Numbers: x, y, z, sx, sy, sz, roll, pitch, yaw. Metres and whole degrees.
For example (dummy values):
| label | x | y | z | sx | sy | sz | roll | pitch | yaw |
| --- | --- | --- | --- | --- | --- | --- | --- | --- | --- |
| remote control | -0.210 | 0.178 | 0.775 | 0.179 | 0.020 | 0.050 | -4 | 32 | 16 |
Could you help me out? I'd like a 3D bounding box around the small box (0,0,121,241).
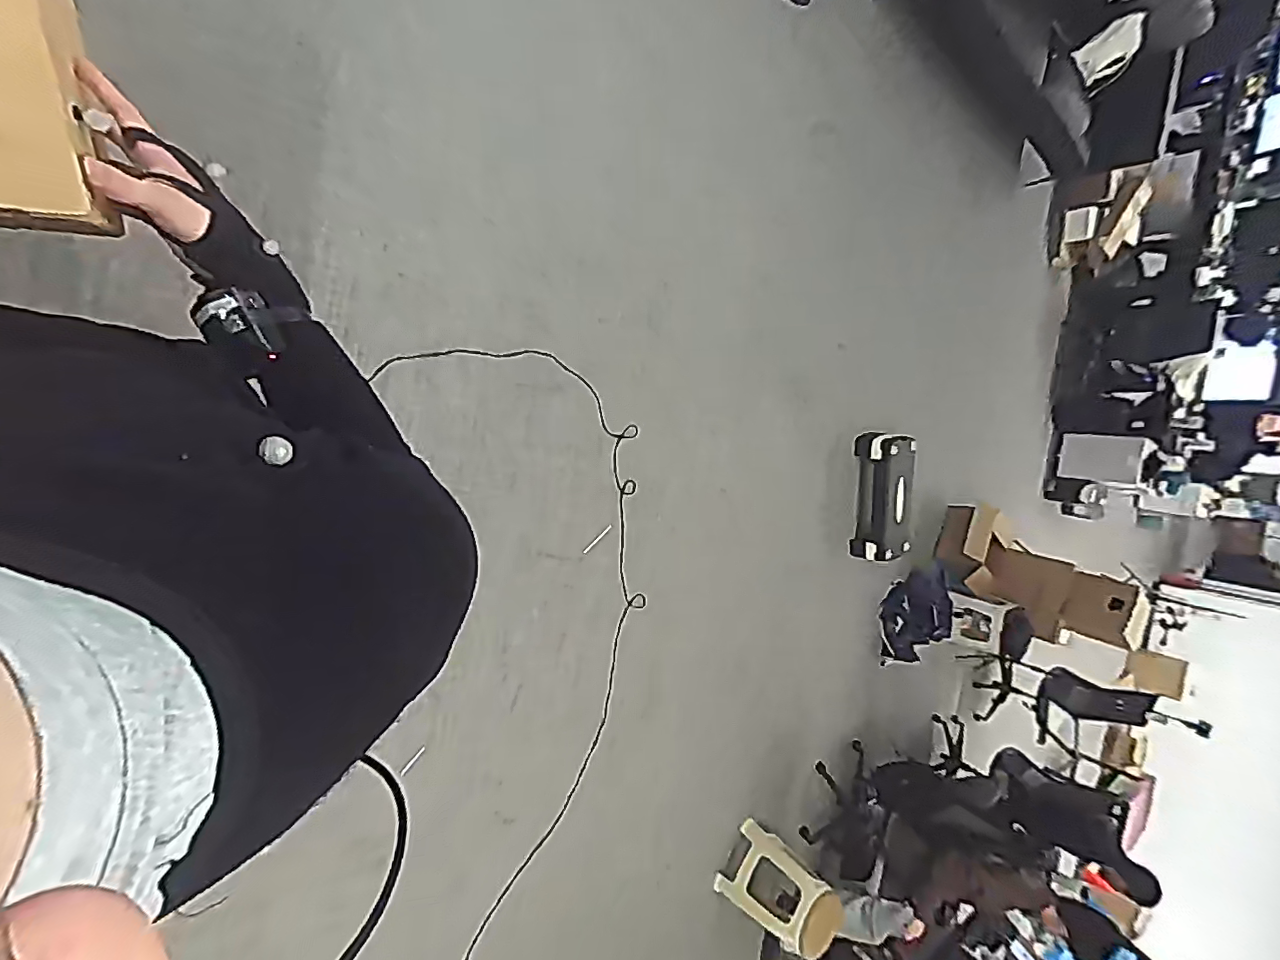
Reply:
| label | x | y | z | sx | sy | sz | roll | pitch | yaw |
| --- | --- | --- | --- | --- | --- | --- | --- | --- | --- |
| small box | -0.460 | -0.252 | 0.338 | 0.168 | 0.176 | 0.179 | -12 | 114 | -37 |
